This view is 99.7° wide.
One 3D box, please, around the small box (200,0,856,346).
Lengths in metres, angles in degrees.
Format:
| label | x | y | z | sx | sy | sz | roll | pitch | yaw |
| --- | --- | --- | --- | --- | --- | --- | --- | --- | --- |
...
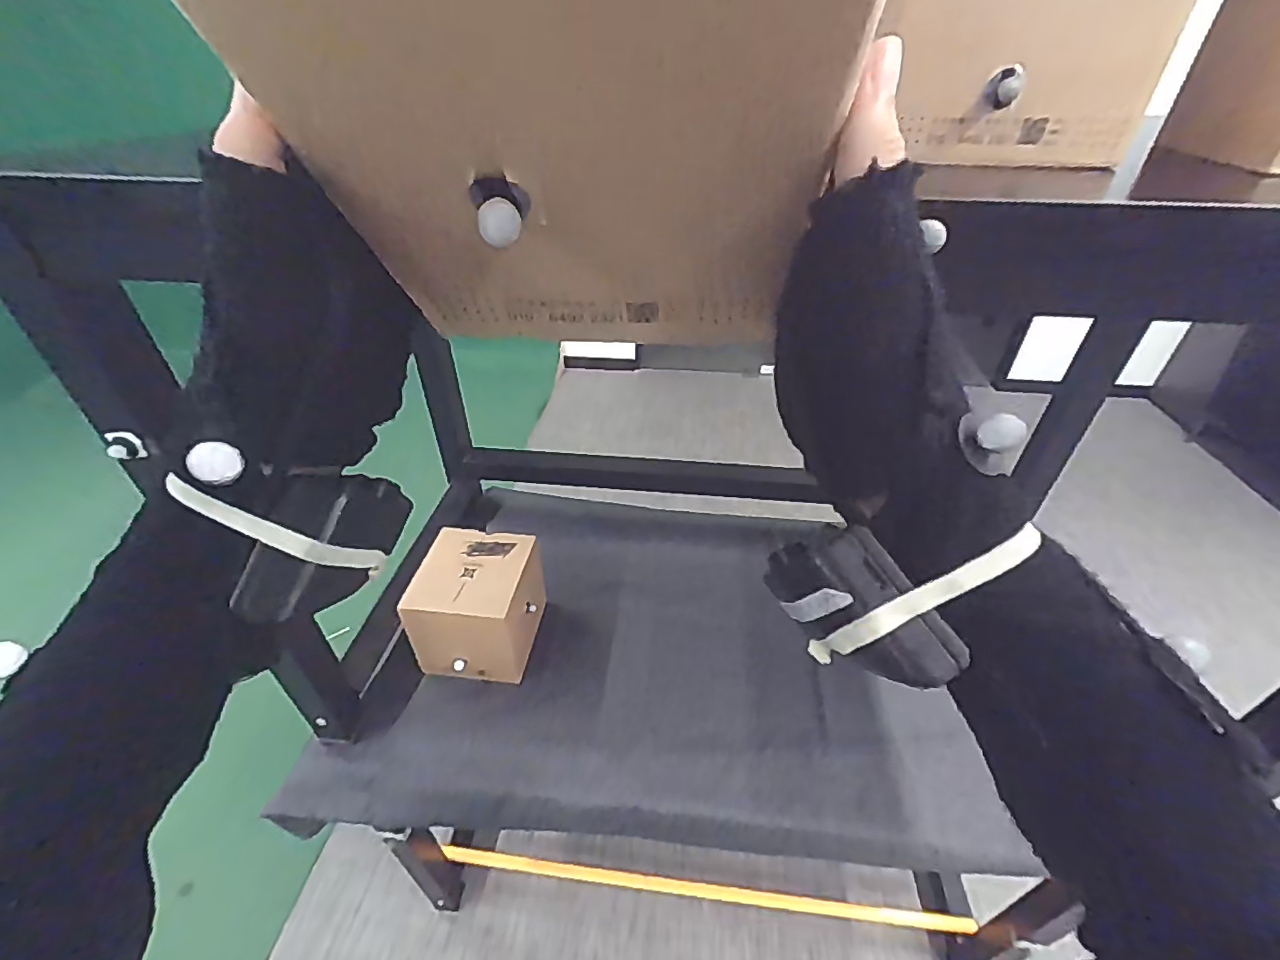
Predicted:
| label | x | y | z | sx | sy | sz | roll | pitch | yaw |
| --- | --- | --- | --- | --- | --- | --- | --- | --- | --- |
| small box | -0.017 | -0.171 | 0.224 | 0.168 | 0.176 | 0.179 | 2 | 73 | 4 |

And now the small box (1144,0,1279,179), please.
| label | x | y | z | sx | sy | sz | roll | pitch | yaw |
| --- | --- | --- | --- | --- | --- | --- | --- | --- | --- |
| small box | 0.484 | -0.286 | 0.339 | 0.168 | 0.176 | 0.179 | 11 | 38 | 14 |

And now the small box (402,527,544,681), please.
| label | x | y | z | sx | sy | sz | roll | pitch | yaw |
| --- | --- | --- | --- | --- | --- | --- | --- | --- | --- |
| small box | -0.262 | 0.203 | 0.900 | 0.168 | 0.176 | 0.179 | 4 | 38 | 5 |
